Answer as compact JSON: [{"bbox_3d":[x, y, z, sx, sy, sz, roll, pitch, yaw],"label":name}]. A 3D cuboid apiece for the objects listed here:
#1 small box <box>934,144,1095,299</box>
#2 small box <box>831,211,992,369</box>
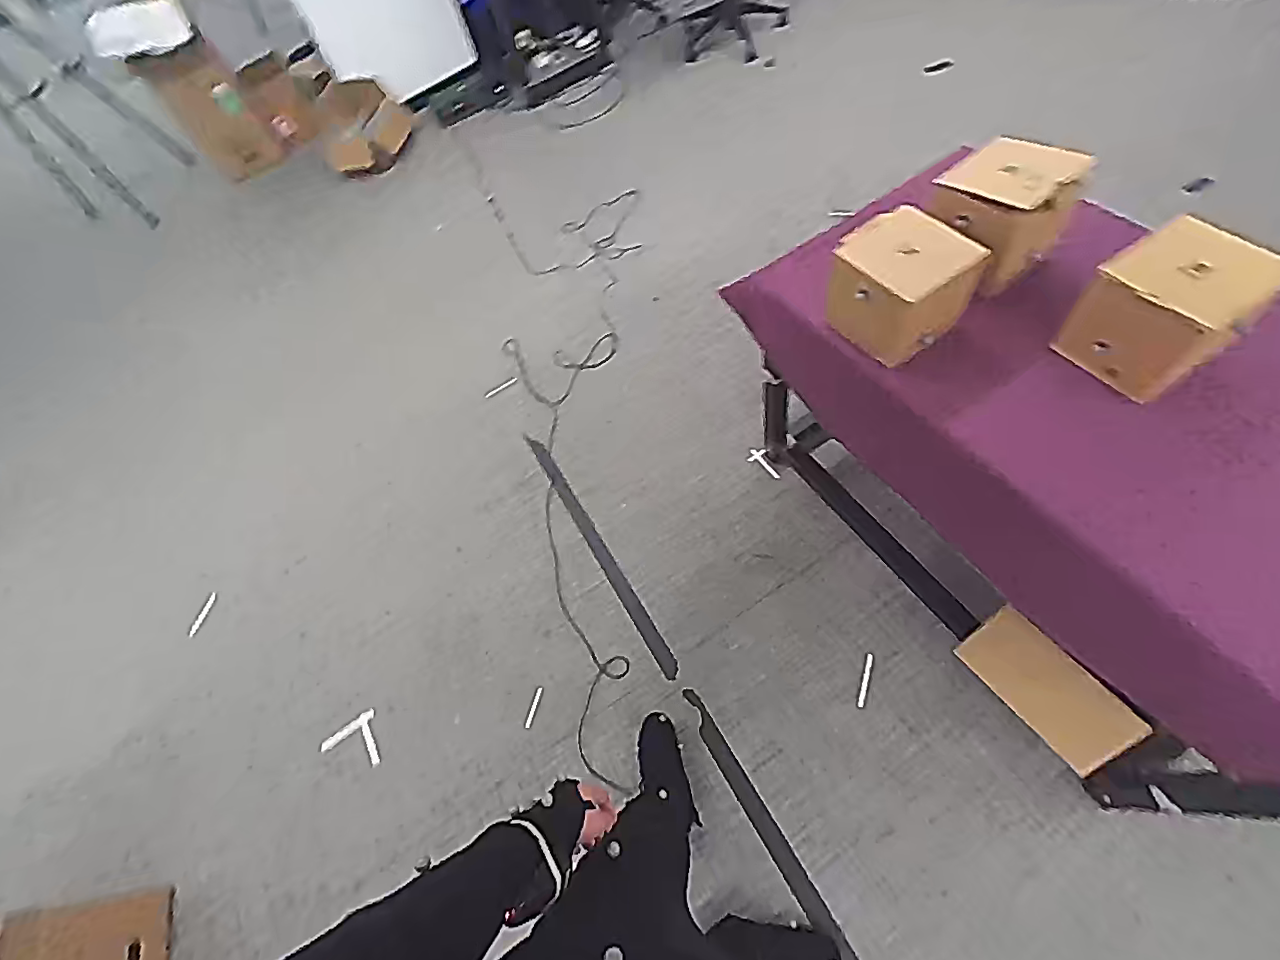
[{"bbox_3d":[0.661,-0.471,0.998,0.168,0.176,0.179,-35,60,-7],"label":"small box"},{"bbox_3d":[0.466,-0.333,0.963,0.168,0.176,0.179,-33,60,-7],"label":"small box"}]
